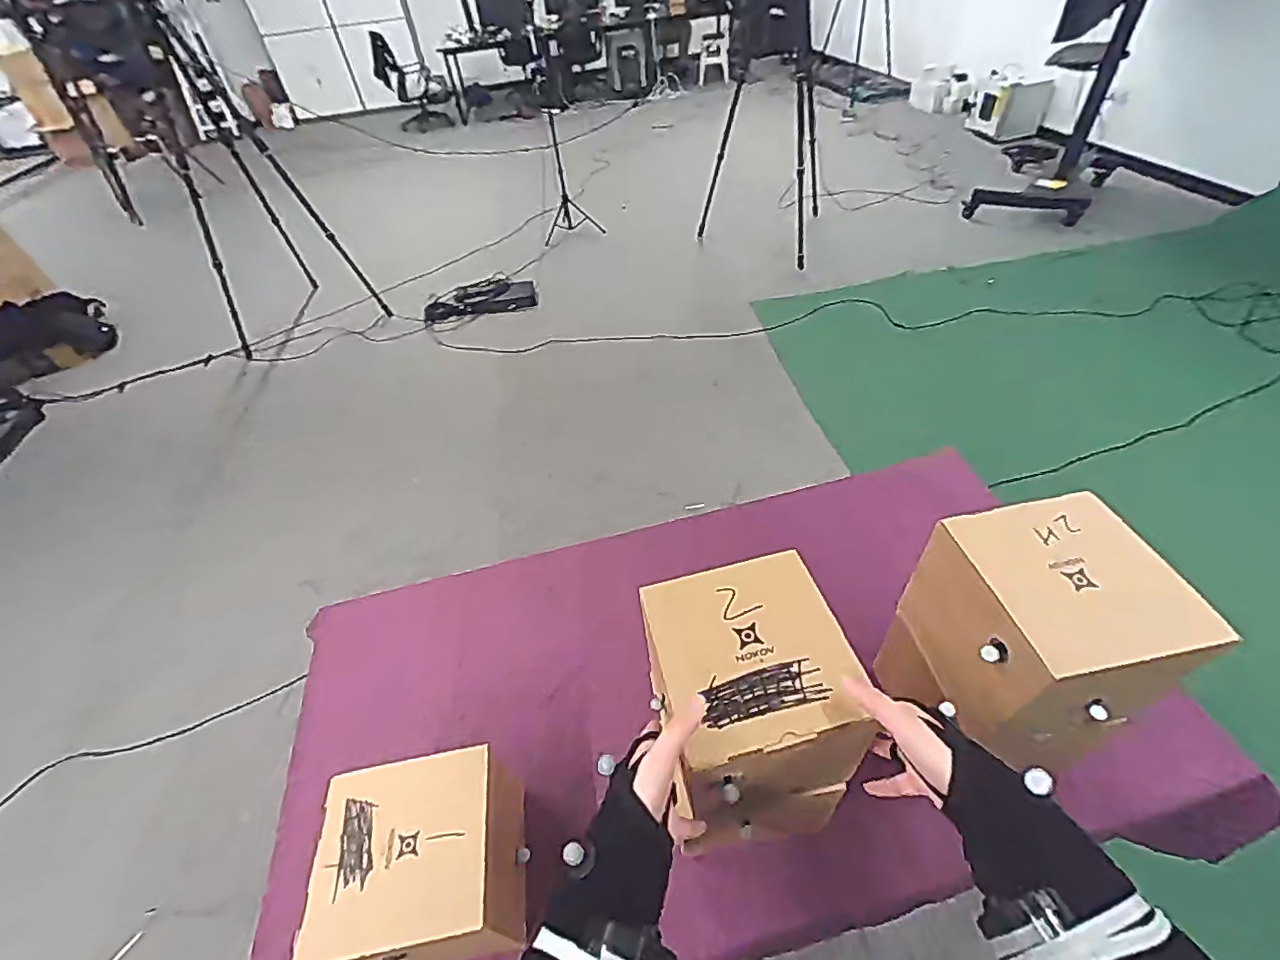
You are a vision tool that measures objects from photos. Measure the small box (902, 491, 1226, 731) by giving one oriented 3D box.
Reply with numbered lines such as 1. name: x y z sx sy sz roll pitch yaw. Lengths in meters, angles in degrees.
1. small box: 0.407 0.142 0.563 0.168 0.176 0.179 -10 45 -3

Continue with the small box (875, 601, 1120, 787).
1. small box: 0.421 0.257 0.680 0.168 0.176 0.179 -10 46 -2

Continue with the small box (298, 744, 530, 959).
1. small box: -0.230 0.424 0.603 0.179 0.176 0.168 -10 45 -4

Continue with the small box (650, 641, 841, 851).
1. small box: 0.118 0.324 0.655 0.179 0.176 0.168 -11 45 -2
